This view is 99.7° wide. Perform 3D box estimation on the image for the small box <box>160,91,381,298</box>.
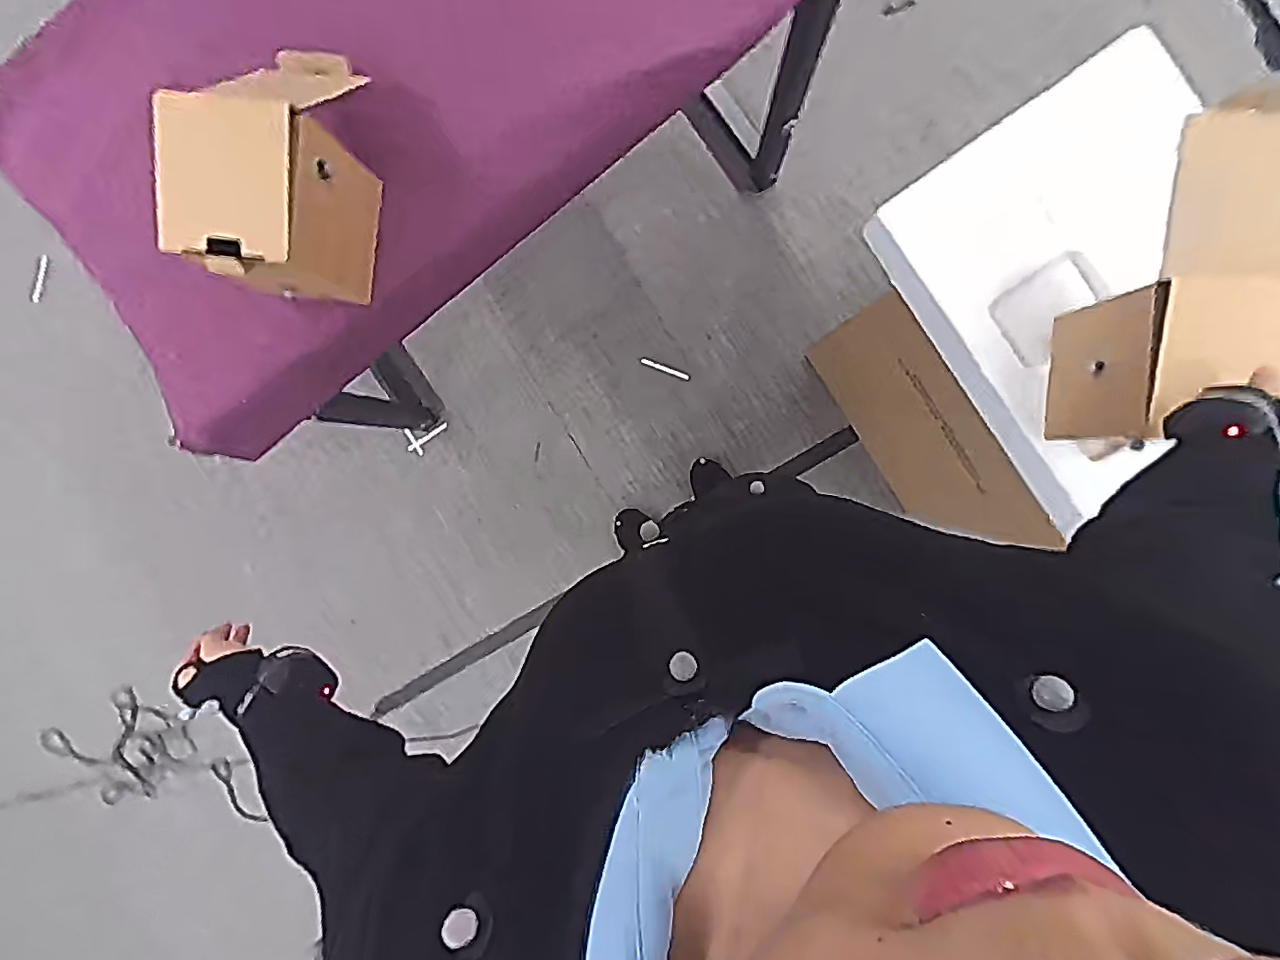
[{"bbox_3d":[-0.465,-0.359,0.707,0.168,0.176,0.179,8,92,5],"label":"small box"}]
